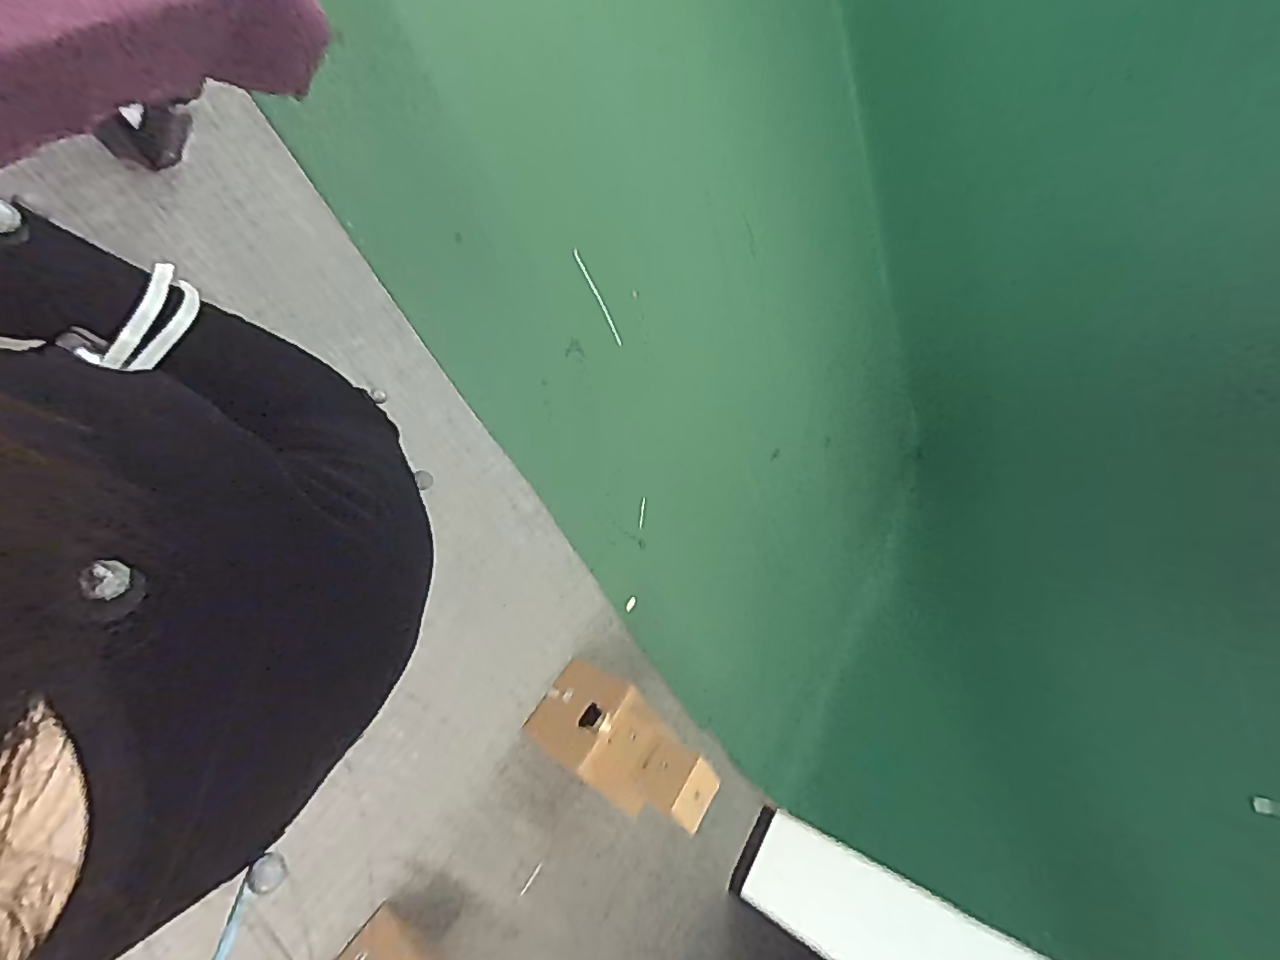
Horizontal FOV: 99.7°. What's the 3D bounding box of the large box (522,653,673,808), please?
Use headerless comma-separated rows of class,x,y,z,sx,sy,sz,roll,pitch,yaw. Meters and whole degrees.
large box,-0.146,0.895,1.959,0.320,0.320,0.408,-51,129,-28

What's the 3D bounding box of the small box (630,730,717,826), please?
small box,0.098,0.882,1.618,0.168,0.176,0.179,-49,128,-29

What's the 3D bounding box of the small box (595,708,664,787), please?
small box,-0.015,0.862,1.738,0.168,0.176,0.179,-49,128,-30
